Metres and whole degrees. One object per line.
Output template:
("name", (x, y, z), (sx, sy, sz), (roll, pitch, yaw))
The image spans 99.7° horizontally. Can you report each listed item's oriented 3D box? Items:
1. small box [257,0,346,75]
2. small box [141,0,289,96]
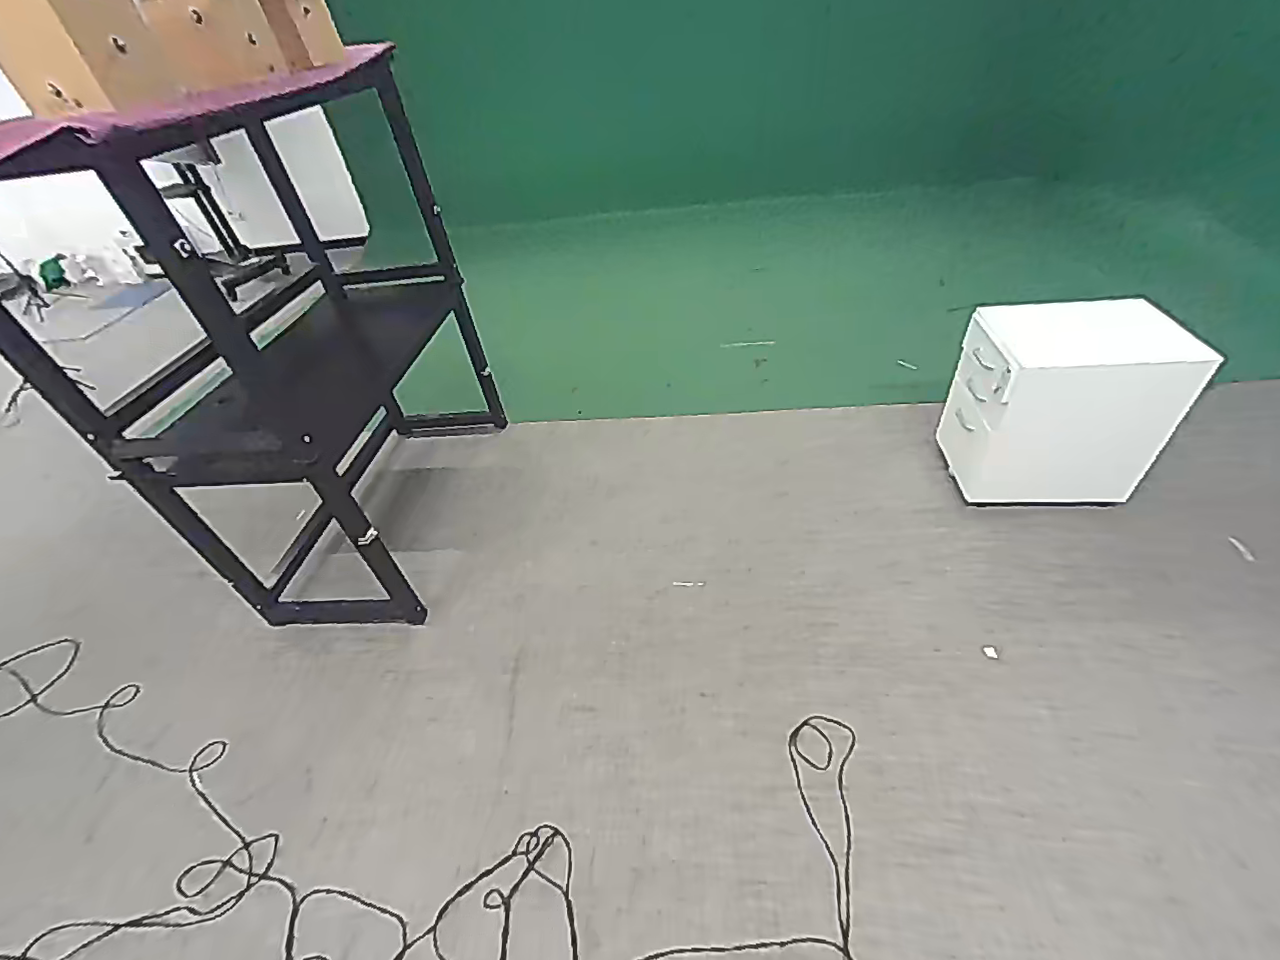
("small box", (-0.980, -1.265, 1.535), (0.168, 0.176, 0.179), (1, 43, 13))
("small box", (-0.978, -1.021, 1.266), (0.179, 0.176, 0.168), (0, 41, 9))
